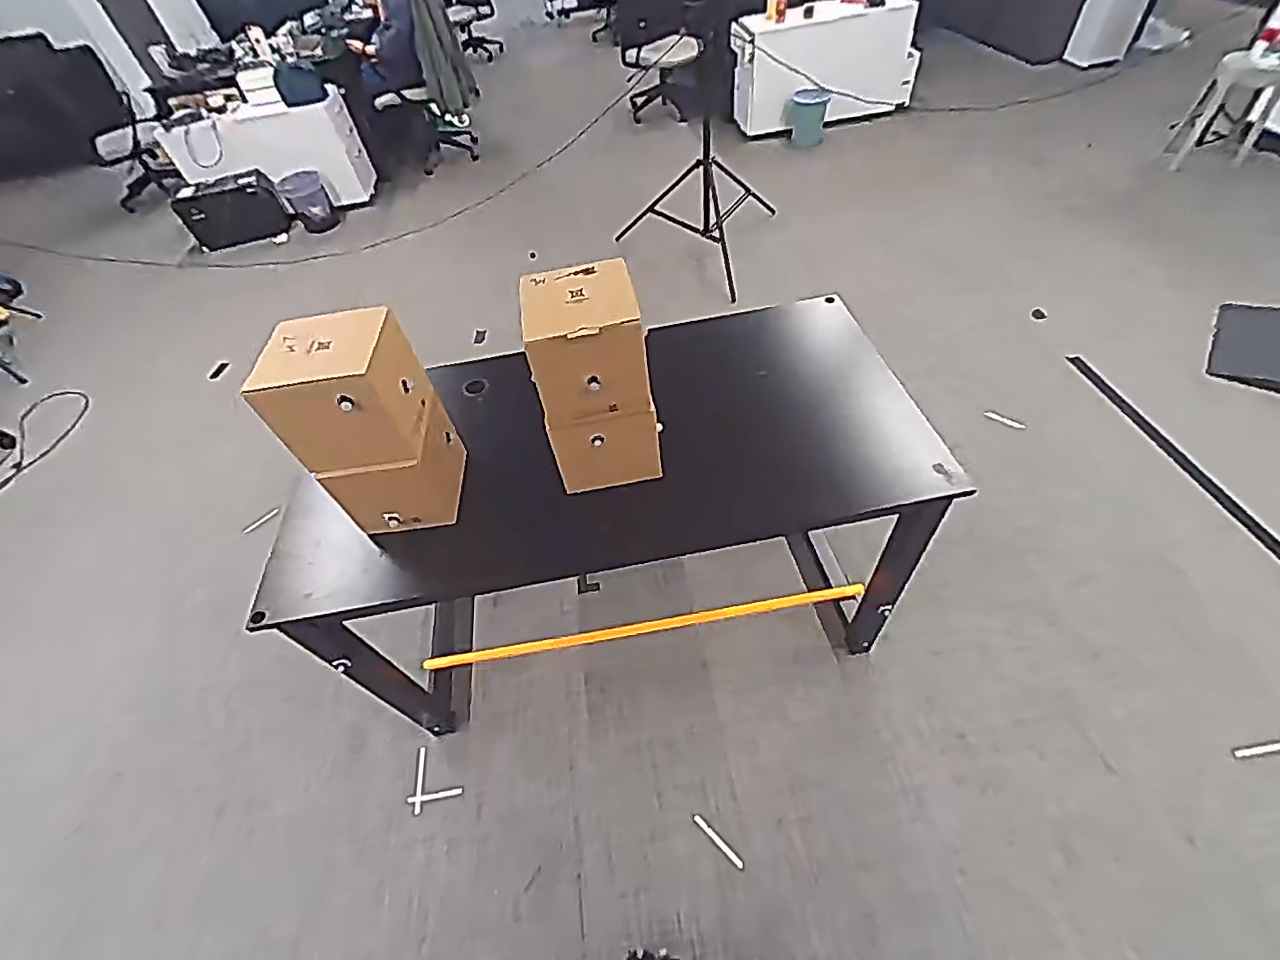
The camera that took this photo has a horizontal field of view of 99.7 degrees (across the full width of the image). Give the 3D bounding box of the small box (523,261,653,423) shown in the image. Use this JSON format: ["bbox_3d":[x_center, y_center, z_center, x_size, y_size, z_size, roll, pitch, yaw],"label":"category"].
[{"bbox_3d":[-0.078,-0.206,0.839,0.168,0.176,0.179,-11,51,-1],"label":"small box"}]

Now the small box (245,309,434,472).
[{"bbox_3d":[-0.439,-0.133,0.829,0.179,0.176,0.168,-9,49,2],"label":"small box"}]

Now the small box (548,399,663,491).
[{"bbox_3d":[-0.061,-0.099,0.962,0.179,0.176,0.168,-10,50,-1],"label":"small box"}]

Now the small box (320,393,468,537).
[{"bbox_3d":[-0.416,-0.024,0.951,0.168,0.176,0.179,-9,51,2],"label":"small box"}]
